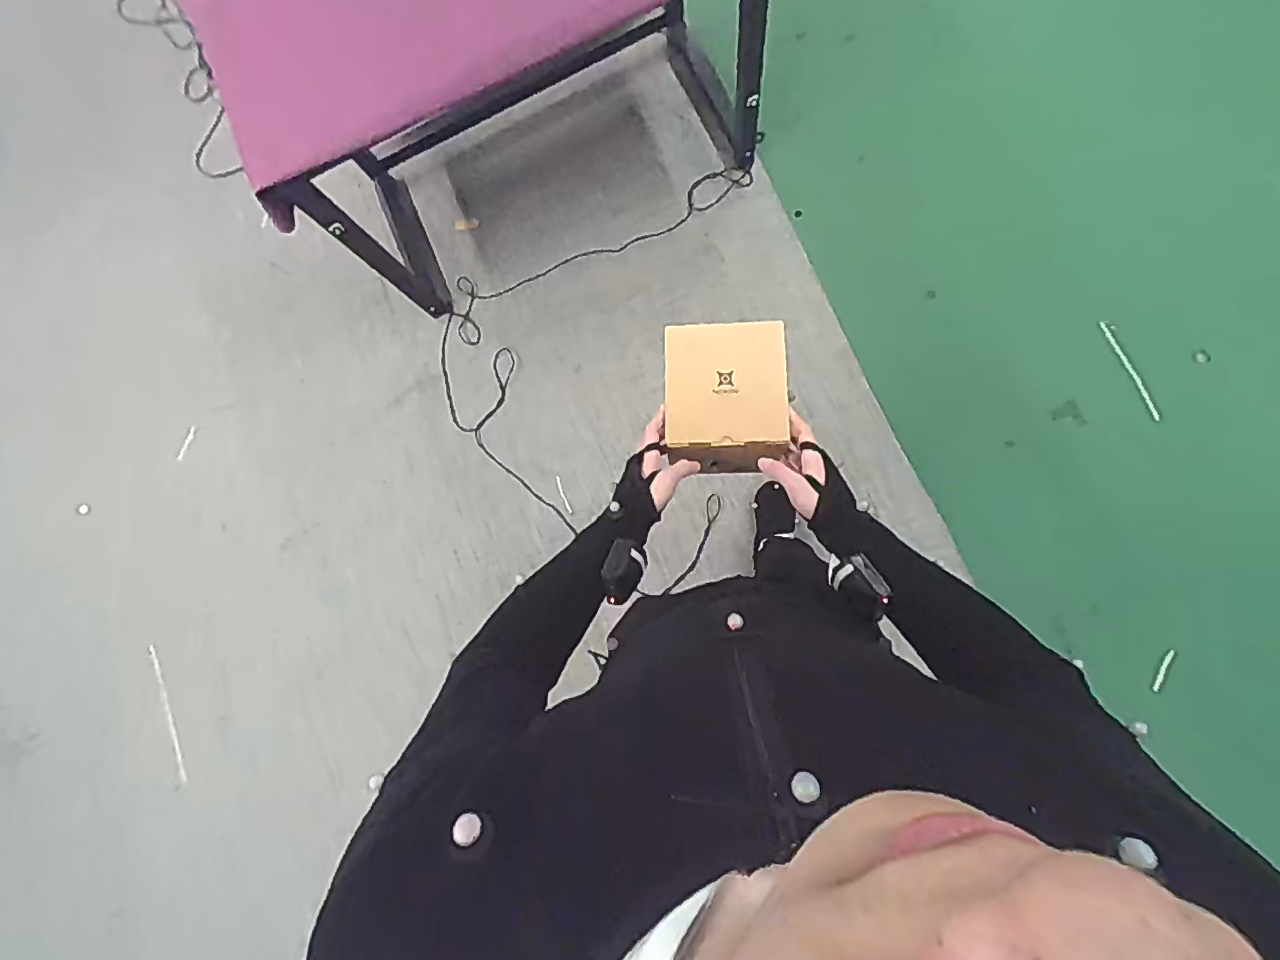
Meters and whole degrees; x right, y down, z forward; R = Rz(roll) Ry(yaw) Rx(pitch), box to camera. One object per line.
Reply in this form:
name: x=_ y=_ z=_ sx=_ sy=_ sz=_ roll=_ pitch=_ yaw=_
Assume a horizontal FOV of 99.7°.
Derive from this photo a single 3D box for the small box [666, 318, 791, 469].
small box: x=0.123 y=-0.119 z=0.803 sx=0.168 sy=0.176 sz=0.179 roll=-1 pitch=79 yaw=5
